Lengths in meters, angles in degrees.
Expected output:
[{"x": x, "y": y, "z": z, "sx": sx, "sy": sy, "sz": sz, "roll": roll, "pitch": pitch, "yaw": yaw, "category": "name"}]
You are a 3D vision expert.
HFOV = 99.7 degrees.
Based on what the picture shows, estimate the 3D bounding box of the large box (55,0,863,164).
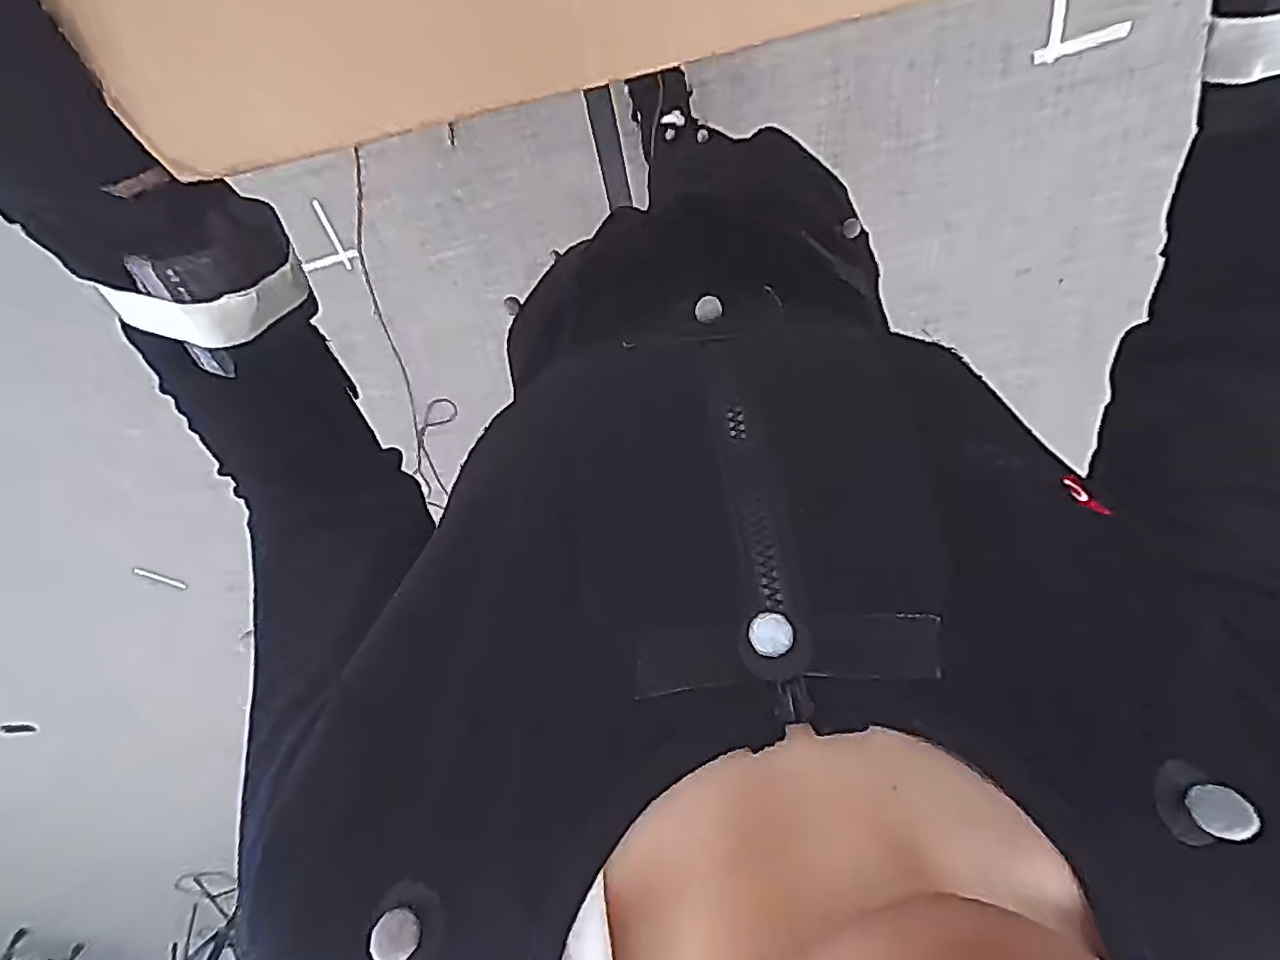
[{"x": -0.028, "y": -0.370, "z": 0.162, "sx": 0.408, "sy": 0.320, "sz": 0.320, "roll": -10, "pitch": 144, "yaw": 4, "category": "large box"}]
